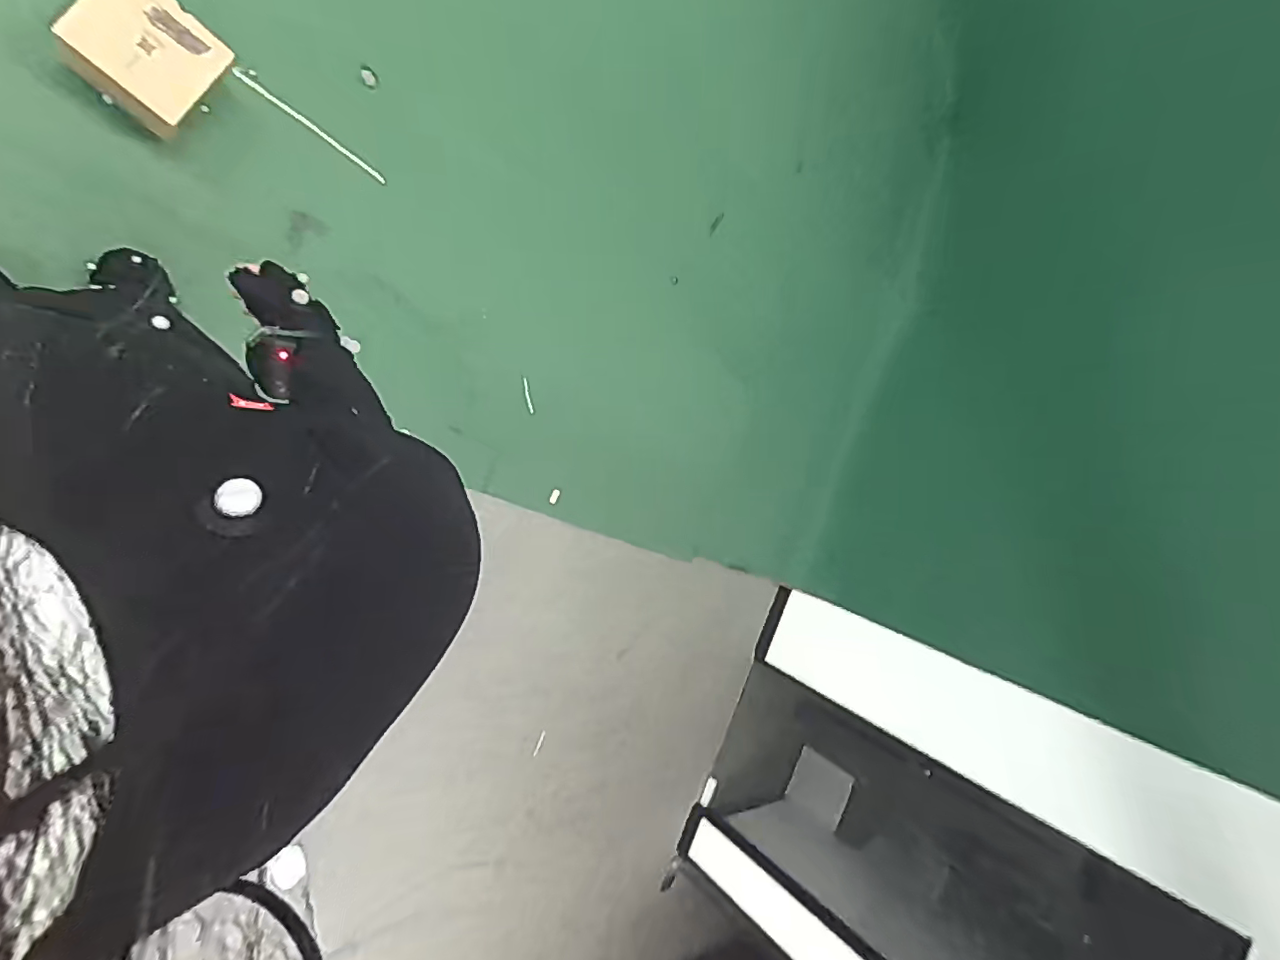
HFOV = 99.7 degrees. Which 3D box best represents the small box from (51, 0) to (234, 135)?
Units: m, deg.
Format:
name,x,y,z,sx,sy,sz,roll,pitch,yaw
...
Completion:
name,x,y,z,sx,sy,sz,roll,pitch,yaw
small box,-0.857,-0.743,0.938,0.168,0.176,0.179,41,76,-44
